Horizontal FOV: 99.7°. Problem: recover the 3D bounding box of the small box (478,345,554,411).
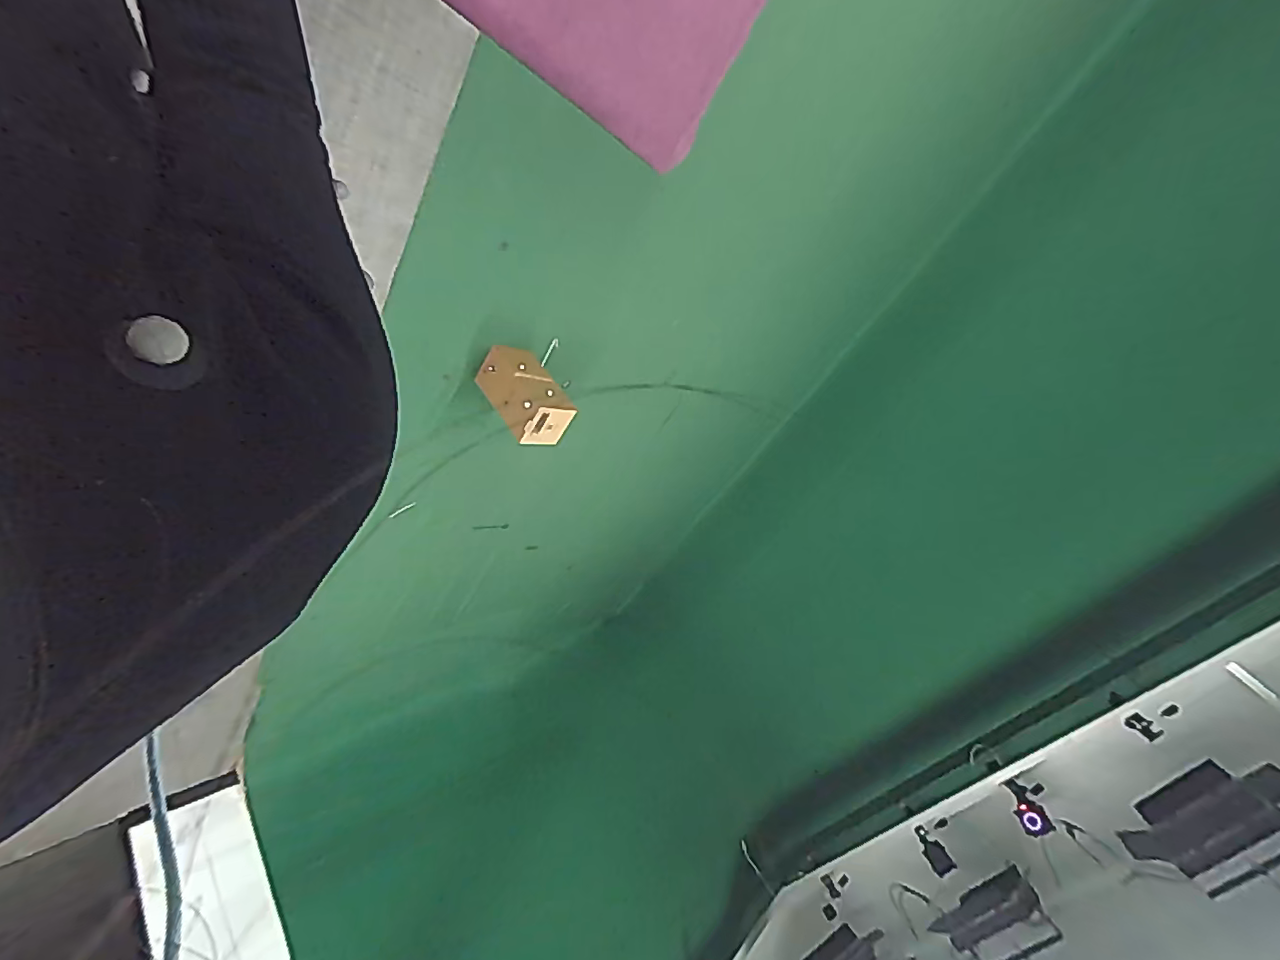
[{"bbox_3d":[-0.455,-0.372,1.971,0.179,0.176,0.168,-1,136,-52],"label":"small box"}]
